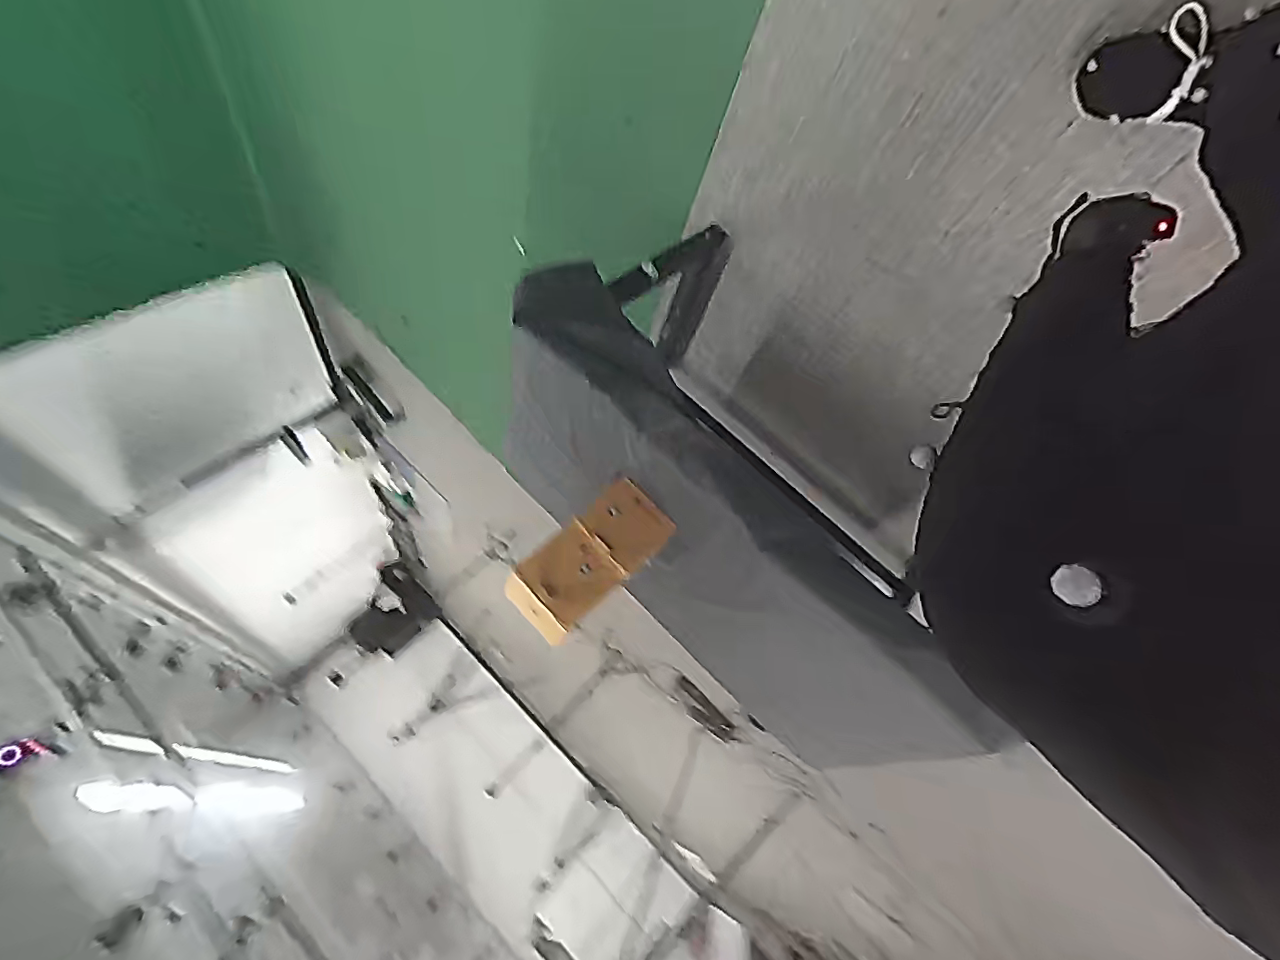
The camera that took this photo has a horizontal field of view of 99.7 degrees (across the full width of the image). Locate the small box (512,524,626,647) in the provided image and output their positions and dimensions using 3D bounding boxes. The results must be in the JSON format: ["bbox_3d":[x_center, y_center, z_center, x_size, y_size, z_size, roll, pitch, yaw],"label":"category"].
[{"bbox_3d":[-0.153,0.225,1.160,0.168,0.176,0.179,45,149,9],"label":"small box"}]

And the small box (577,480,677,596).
[{"bbox_3d":[-0.039,0.130,1.228,0.168,0.176,0.179,45,151,10],"label":"small box"}]
